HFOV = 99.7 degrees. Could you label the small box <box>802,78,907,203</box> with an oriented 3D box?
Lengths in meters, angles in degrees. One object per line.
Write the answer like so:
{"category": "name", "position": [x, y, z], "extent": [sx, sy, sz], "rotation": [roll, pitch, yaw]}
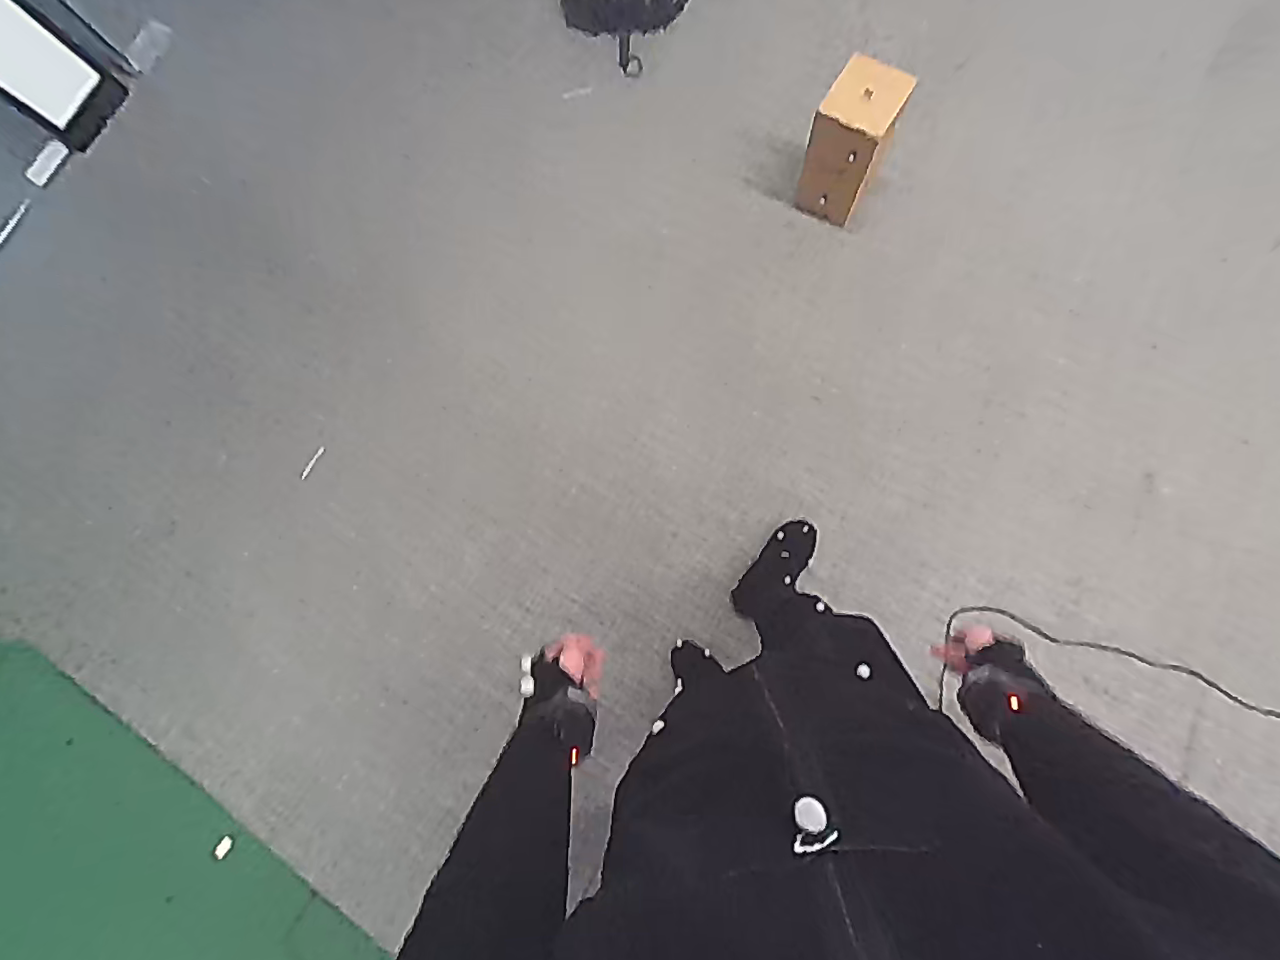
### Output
{"category": "small box", "position": [0.525, -0.841, 1.356], "extent": [0.168, 0.176, 0.179], "rotation": [31, 82, 10]}

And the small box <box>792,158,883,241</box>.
{"category": "small box", "position": [0.543, -0.811, 1.515], "extent": [0.168, 0.176, 0.179], "rotation": [31, 84, 11]}
